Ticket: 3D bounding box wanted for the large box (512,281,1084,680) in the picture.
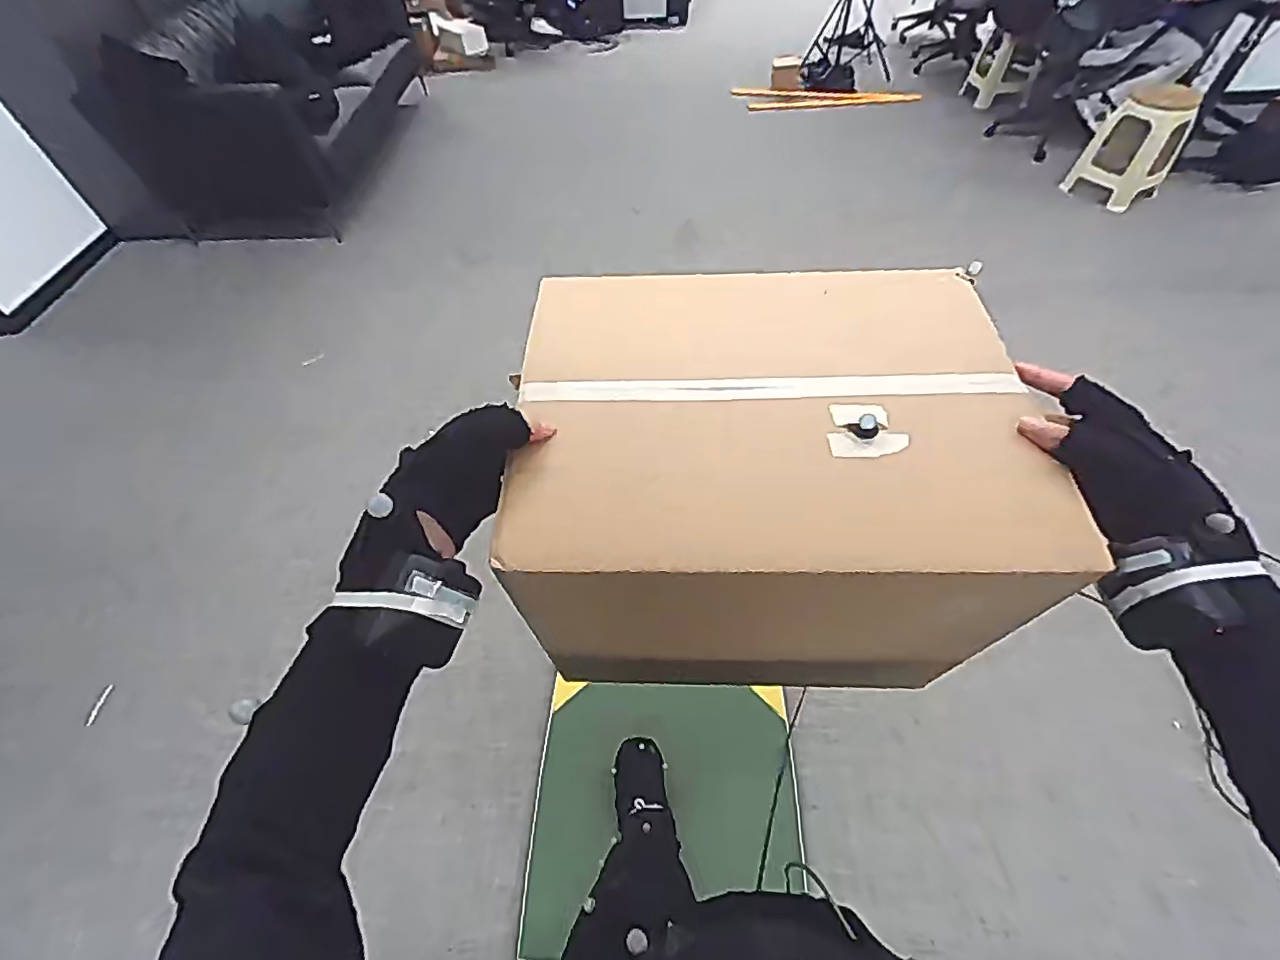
[{"bbox_3d":[0.109,0.014,0.577,0.408,0.320,0.320,0,56,2],"label":"large box"}]
